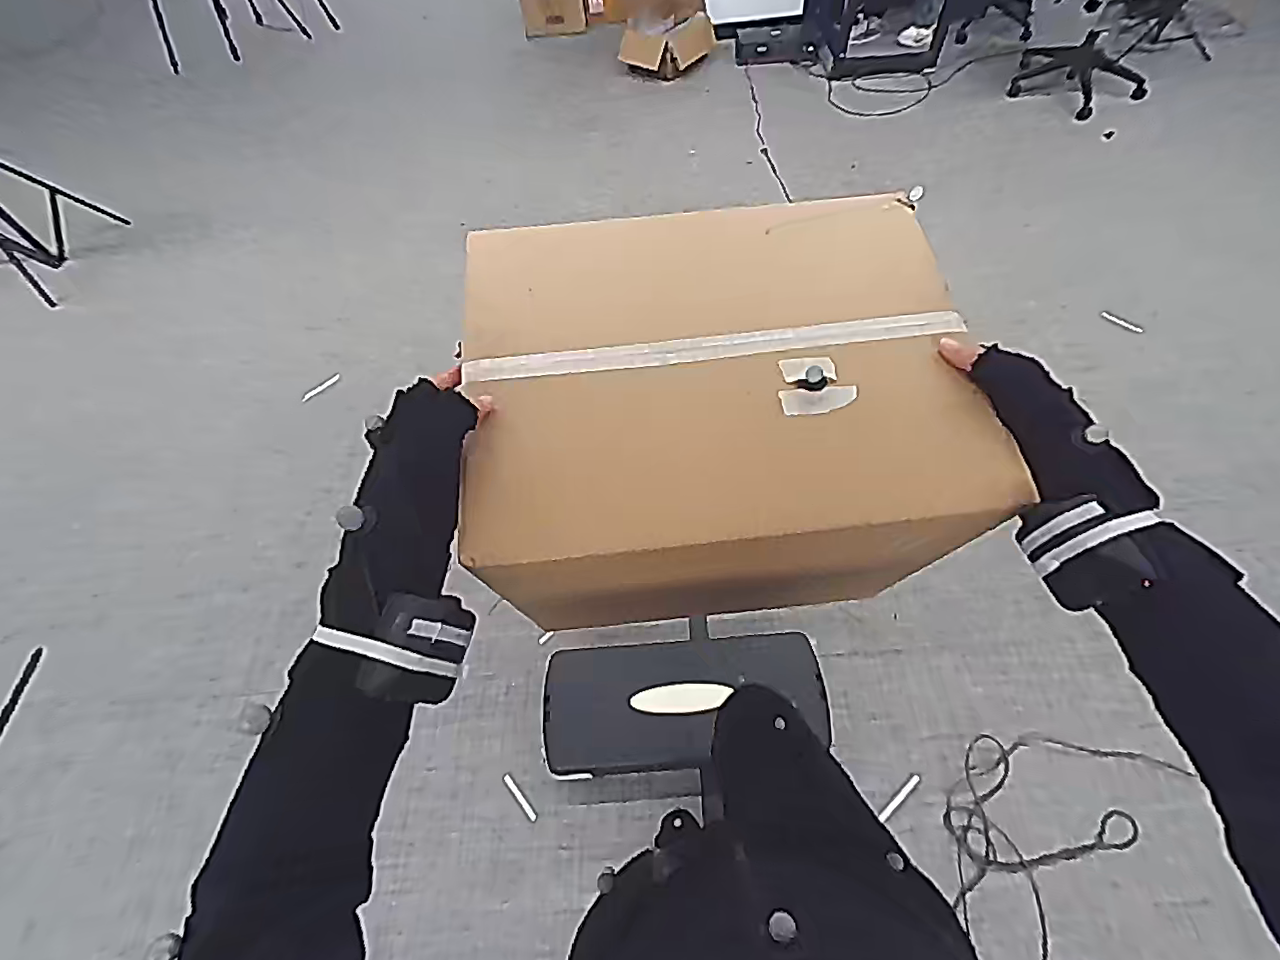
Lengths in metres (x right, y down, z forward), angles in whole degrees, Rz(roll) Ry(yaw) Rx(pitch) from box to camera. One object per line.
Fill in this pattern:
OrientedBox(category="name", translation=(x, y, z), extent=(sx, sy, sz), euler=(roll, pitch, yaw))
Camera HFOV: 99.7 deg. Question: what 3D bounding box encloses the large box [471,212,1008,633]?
OrientedBox(category="large box", translation=(0.060, -0.036, 0.586), extent=(0.408, 0.320, 0.320), euler=(-6, 66, -2))
